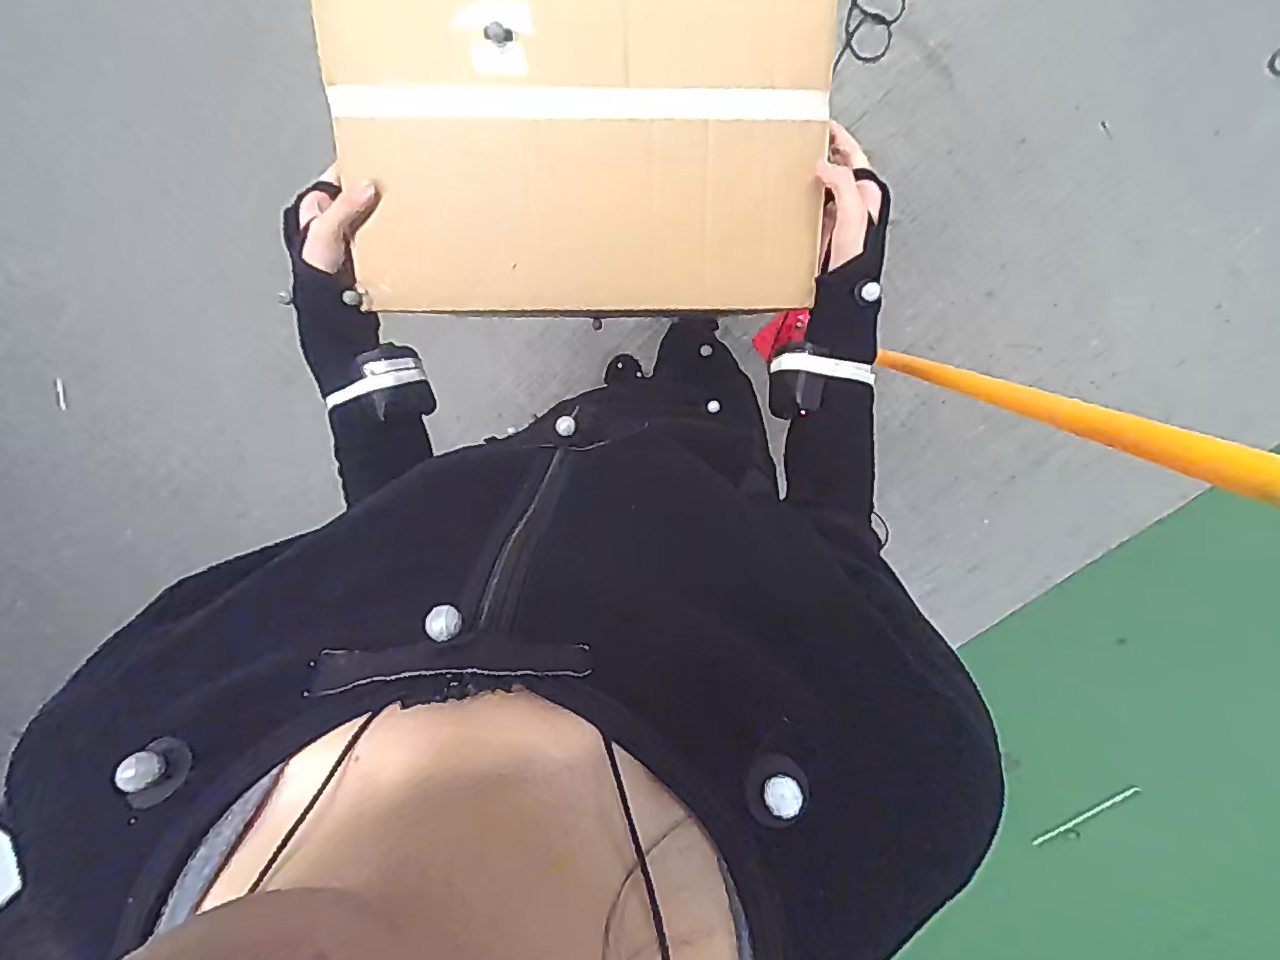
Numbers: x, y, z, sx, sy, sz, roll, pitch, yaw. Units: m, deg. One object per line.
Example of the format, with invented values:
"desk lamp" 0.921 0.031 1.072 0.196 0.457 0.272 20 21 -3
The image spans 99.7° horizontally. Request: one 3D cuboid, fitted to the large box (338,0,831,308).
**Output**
"large box" -0.046 -0.354 0.598 0.408 0.320 0.320 -1 106 -3
